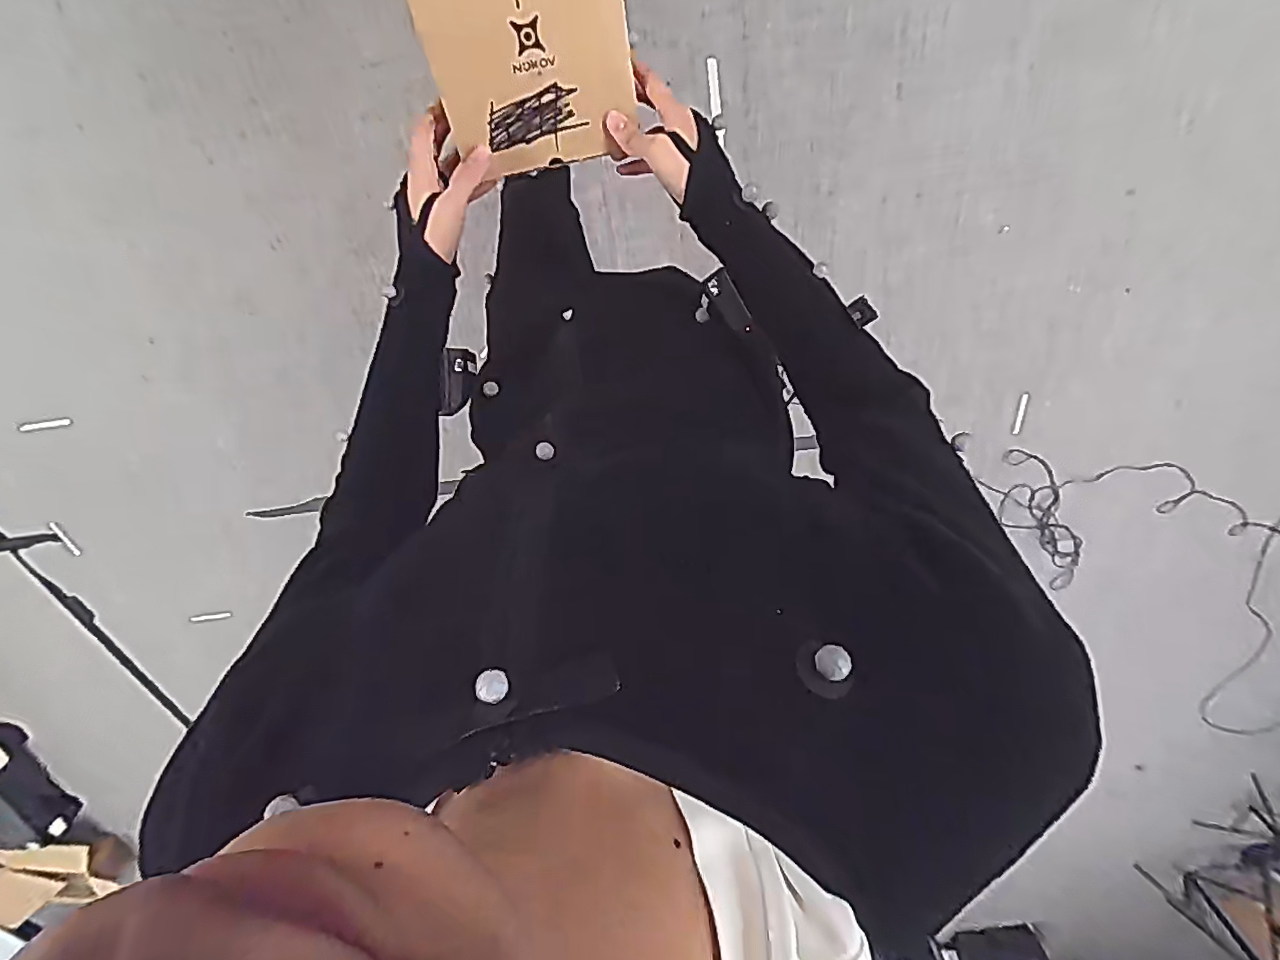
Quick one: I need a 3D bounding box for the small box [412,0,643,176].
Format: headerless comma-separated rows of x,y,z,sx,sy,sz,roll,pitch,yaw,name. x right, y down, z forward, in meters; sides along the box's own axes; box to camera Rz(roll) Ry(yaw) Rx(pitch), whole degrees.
-0.098,-0.410,0.492,0.168,0.176,0.179,-13,135,1,small box
